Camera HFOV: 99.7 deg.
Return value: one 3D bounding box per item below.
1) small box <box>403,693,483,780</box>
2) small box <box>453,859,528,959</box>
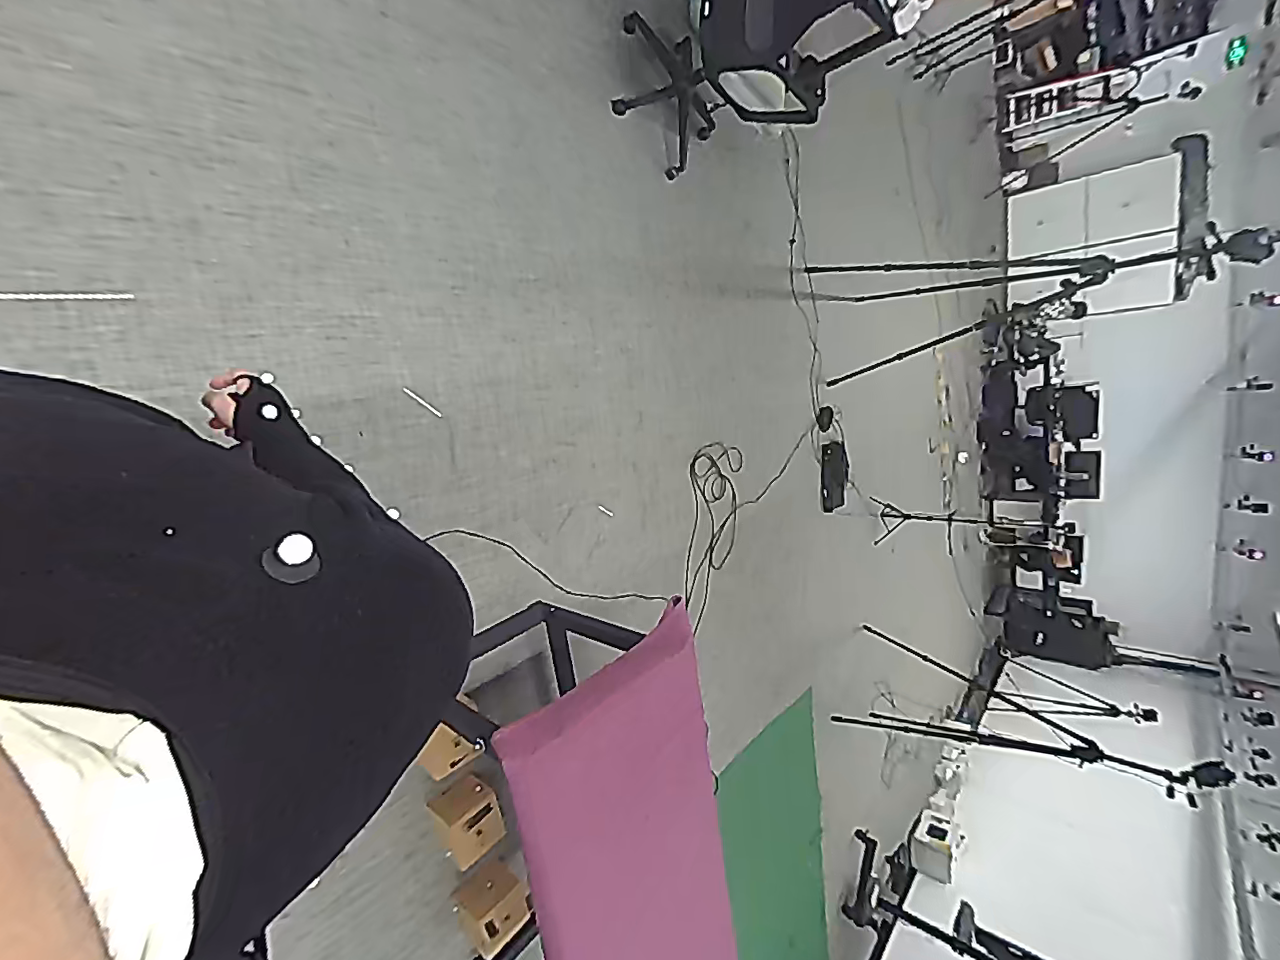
[{"bbox_3d":[-0.624,0.794,1.702,0.168,0.176,0.179,-16,103,-46],"label":"small box"},{"bbox_3d":[-0.517,1.458,1.846,0.179,0.176,0.168,-24,109,-45],"label":"small box"}]
